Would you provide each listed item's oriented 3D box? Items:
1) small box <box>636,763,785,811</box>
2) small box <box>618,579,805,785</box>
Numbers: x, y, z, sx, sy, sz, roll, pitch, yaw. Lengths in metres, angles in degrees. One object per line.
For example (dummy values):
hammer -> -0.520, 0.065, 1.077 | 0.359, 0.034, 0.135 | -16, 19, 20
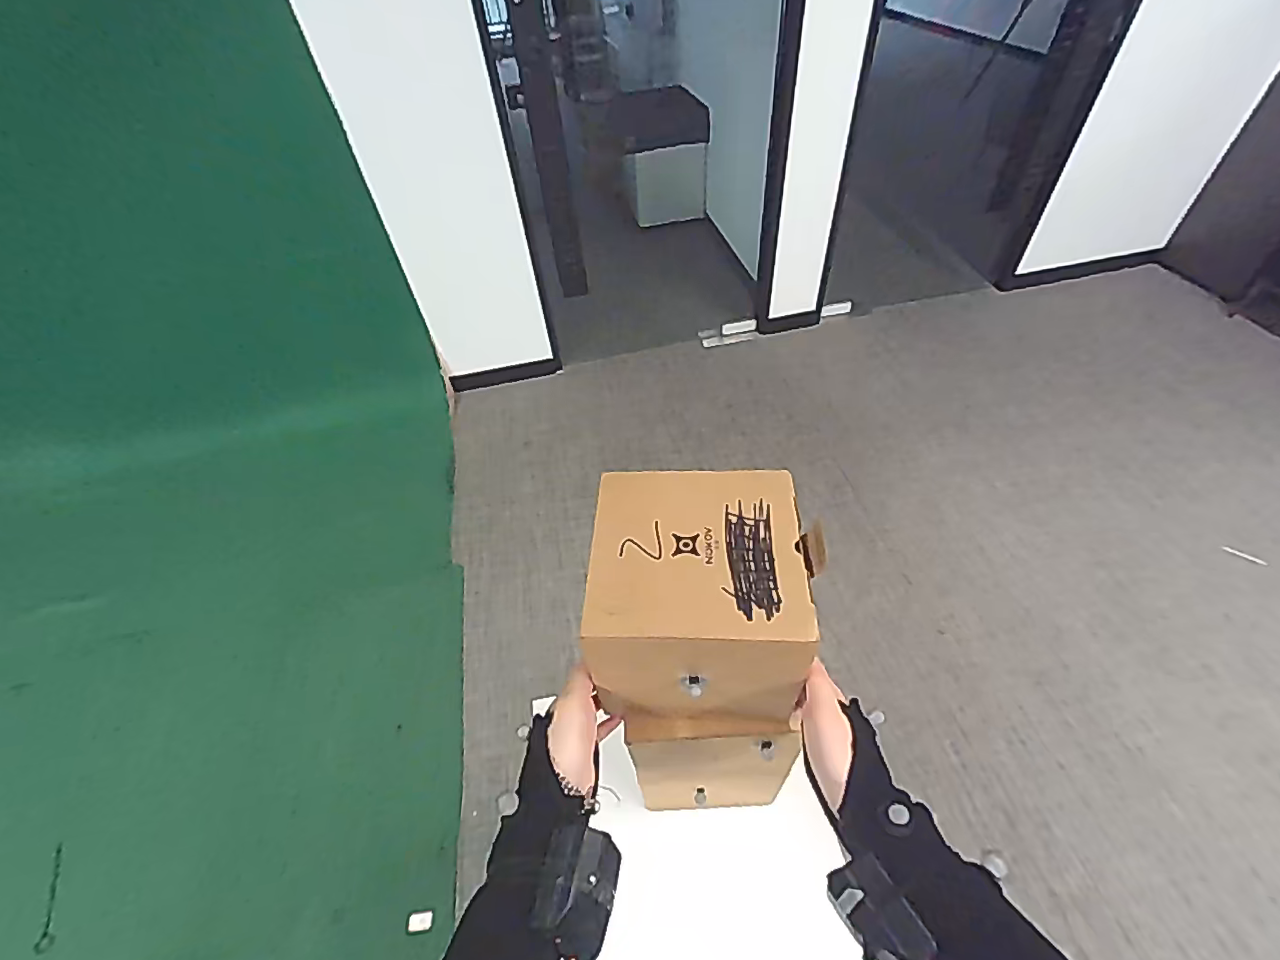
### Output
small box -> 0.087, 0.338, 0.736 | 0.179, 0.176, 0.168 | -5, 48, 2
small box -> 0.071, 0.232, 0.613 | 0.179, 0.176, 0.168 | -4, 48, 1
